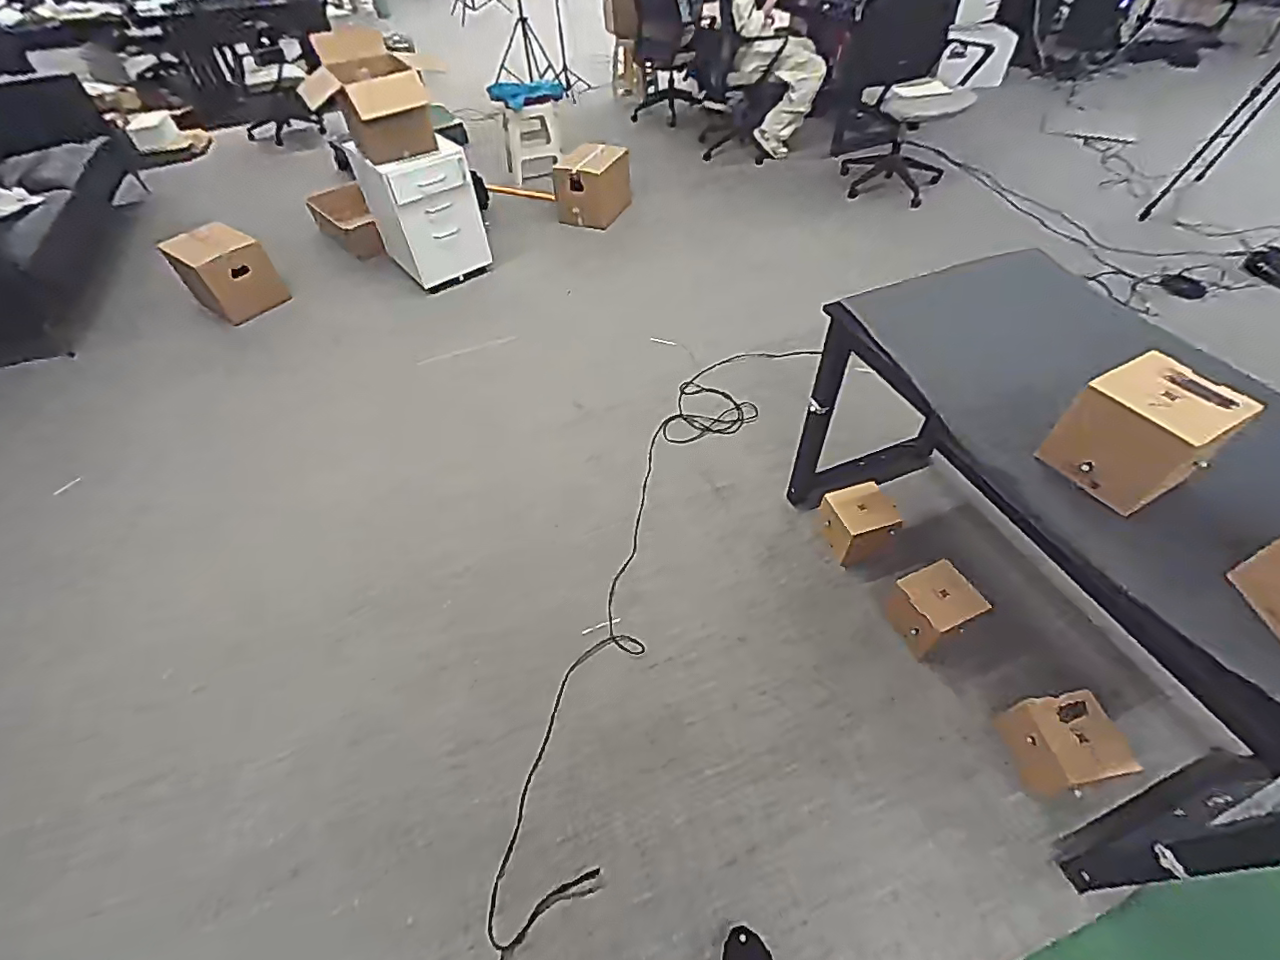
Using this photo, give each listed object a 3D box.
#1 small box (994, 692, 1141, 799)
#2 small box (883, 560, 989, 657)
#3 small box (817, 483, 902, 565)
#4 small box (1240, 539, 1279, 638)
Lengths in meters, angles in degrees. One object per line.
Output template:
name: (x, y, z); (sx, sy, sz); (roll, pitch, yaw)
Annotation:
small box: (0.968, 0.615, 1.249); (0.168, 0.176, 0.179); (-8, 51, -3)
small box: (0.797, 0.356, 1.483); (0.179, 0.176, 0.168); (-19, 51, -14)
small box: (0.670, 0.140, 1.679); (0.179, 0.176, 0.168); (-14, 50, -9)
small box: (0.947, 0.147, 0.687); (0.179, 0.176, 0.168); (0, 49, 0)
